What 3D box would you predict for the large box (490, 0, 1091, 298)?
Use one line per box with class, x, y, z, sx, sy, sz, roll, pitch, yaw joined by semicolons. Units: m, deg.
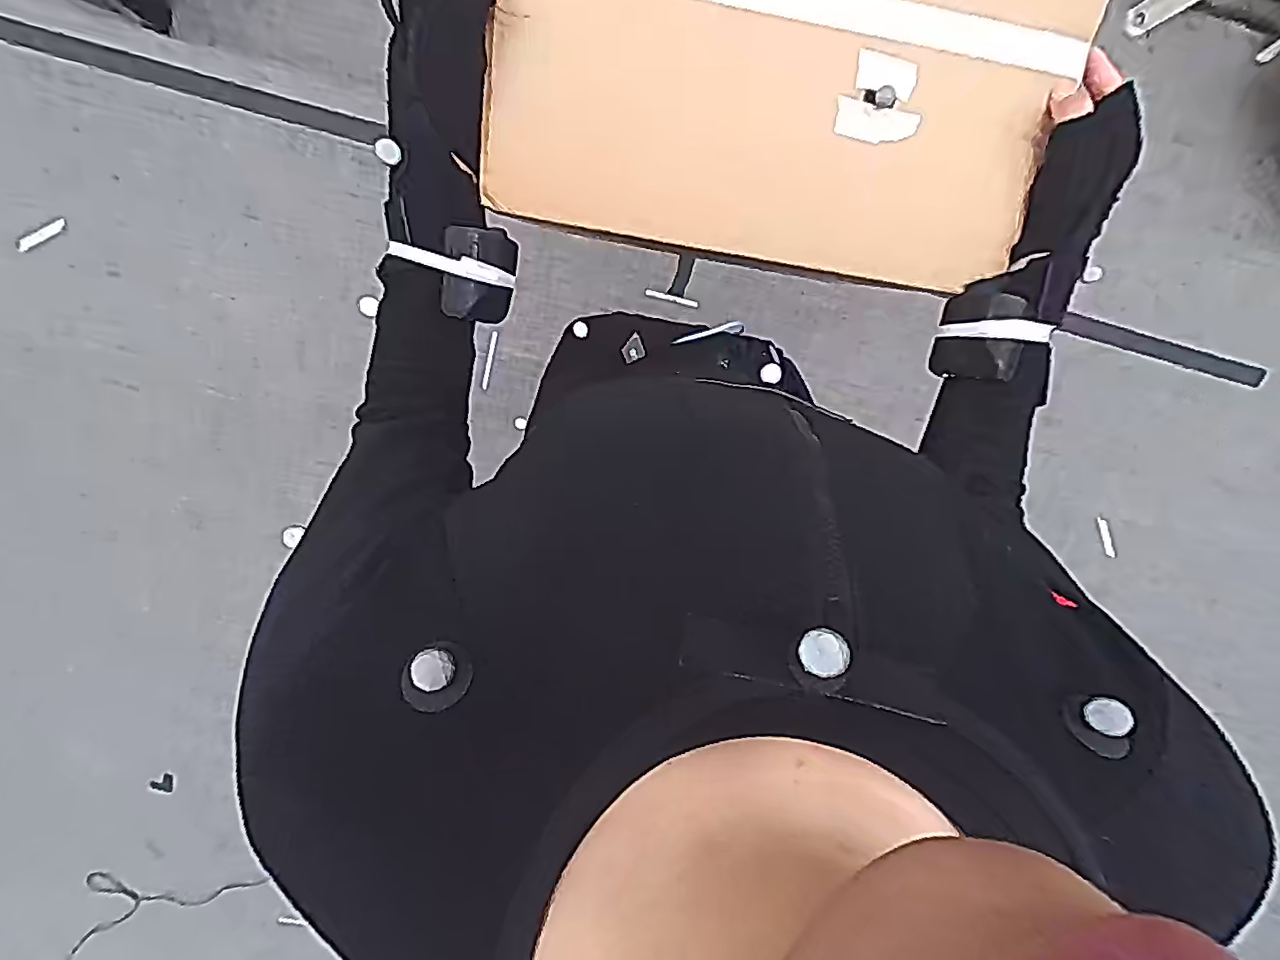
large box;0.095;-0.368;0.504;0.408;0.320;0.320;8;113;-7
